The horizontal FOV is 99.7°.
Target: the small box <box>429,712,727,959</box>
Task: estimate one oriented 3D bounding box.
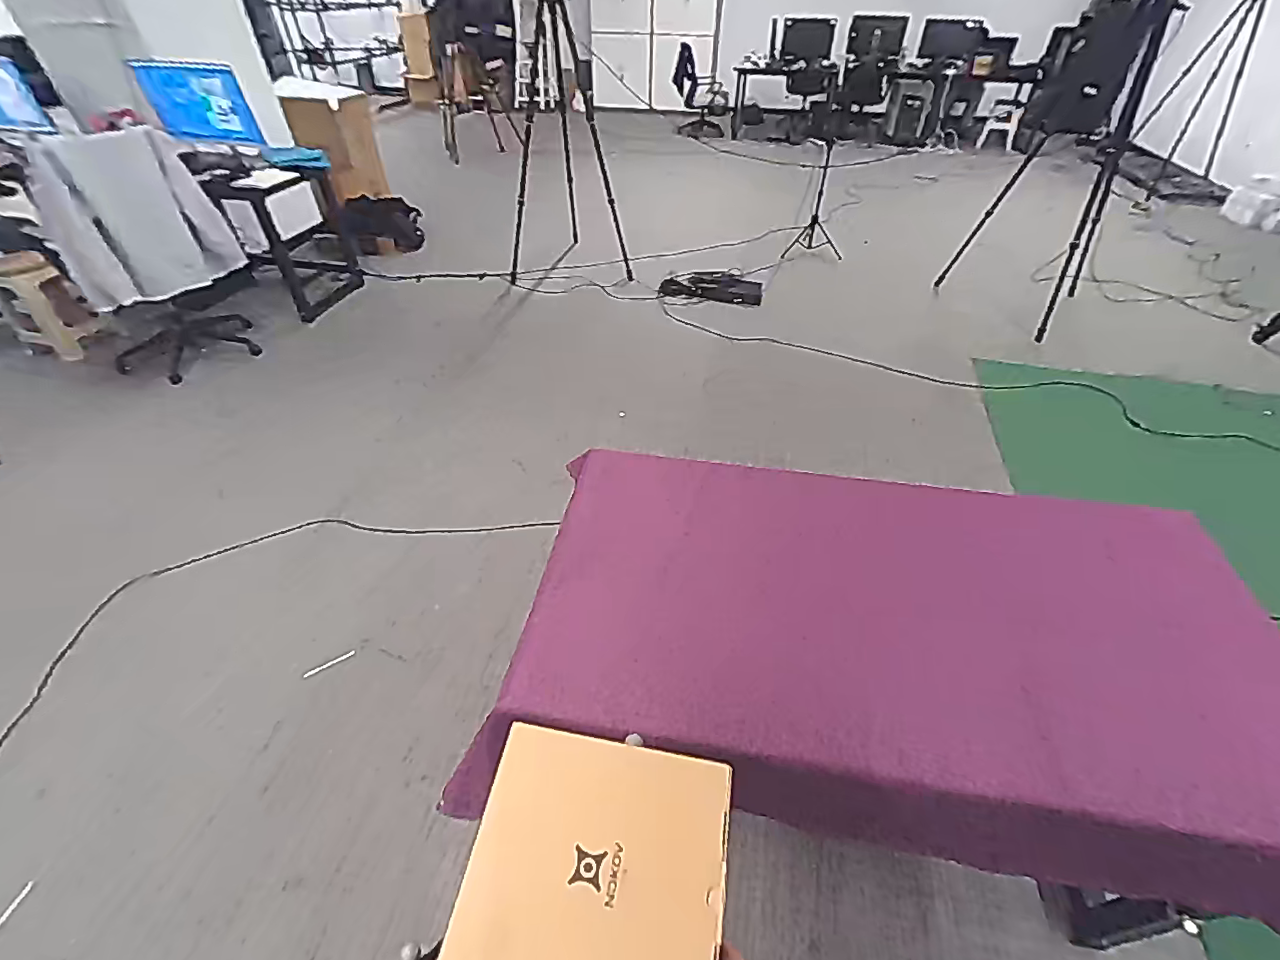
[{"bbox_3d":[-0.031,0.312,0.436,0.179,0.176,0.168,8,50,8],"label":"small box"}]
